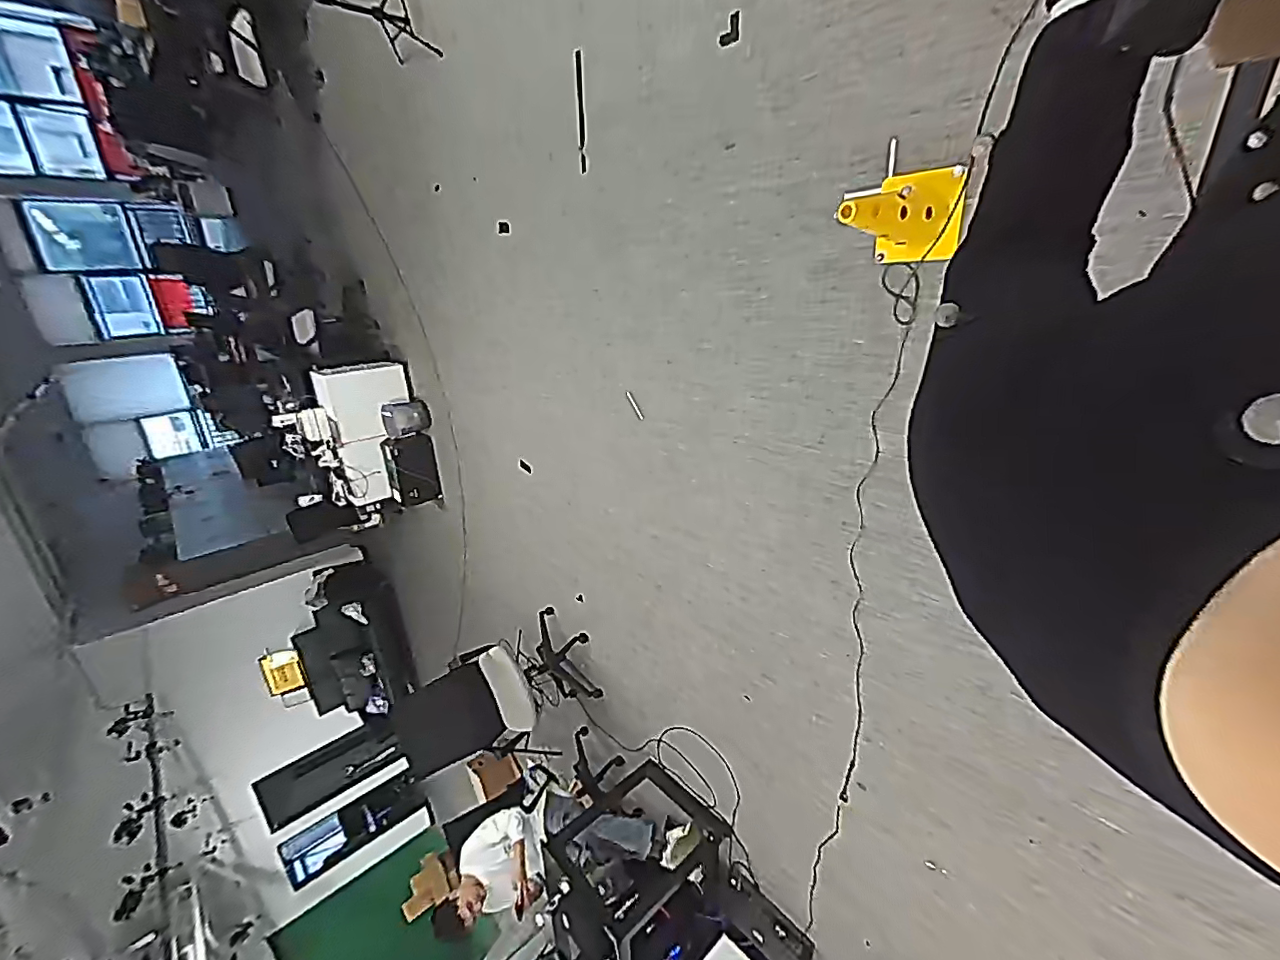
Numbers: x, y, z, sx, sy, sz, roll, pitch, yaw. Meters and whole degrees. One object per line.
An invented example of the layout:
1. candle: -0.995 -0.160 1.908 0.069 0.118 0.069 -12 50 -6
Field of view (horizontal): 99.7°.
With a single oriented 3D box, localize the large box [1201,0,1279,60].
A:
1. large box: 0.559 -0.442 0.225 0.408 0.320 0.320 19 123 43
